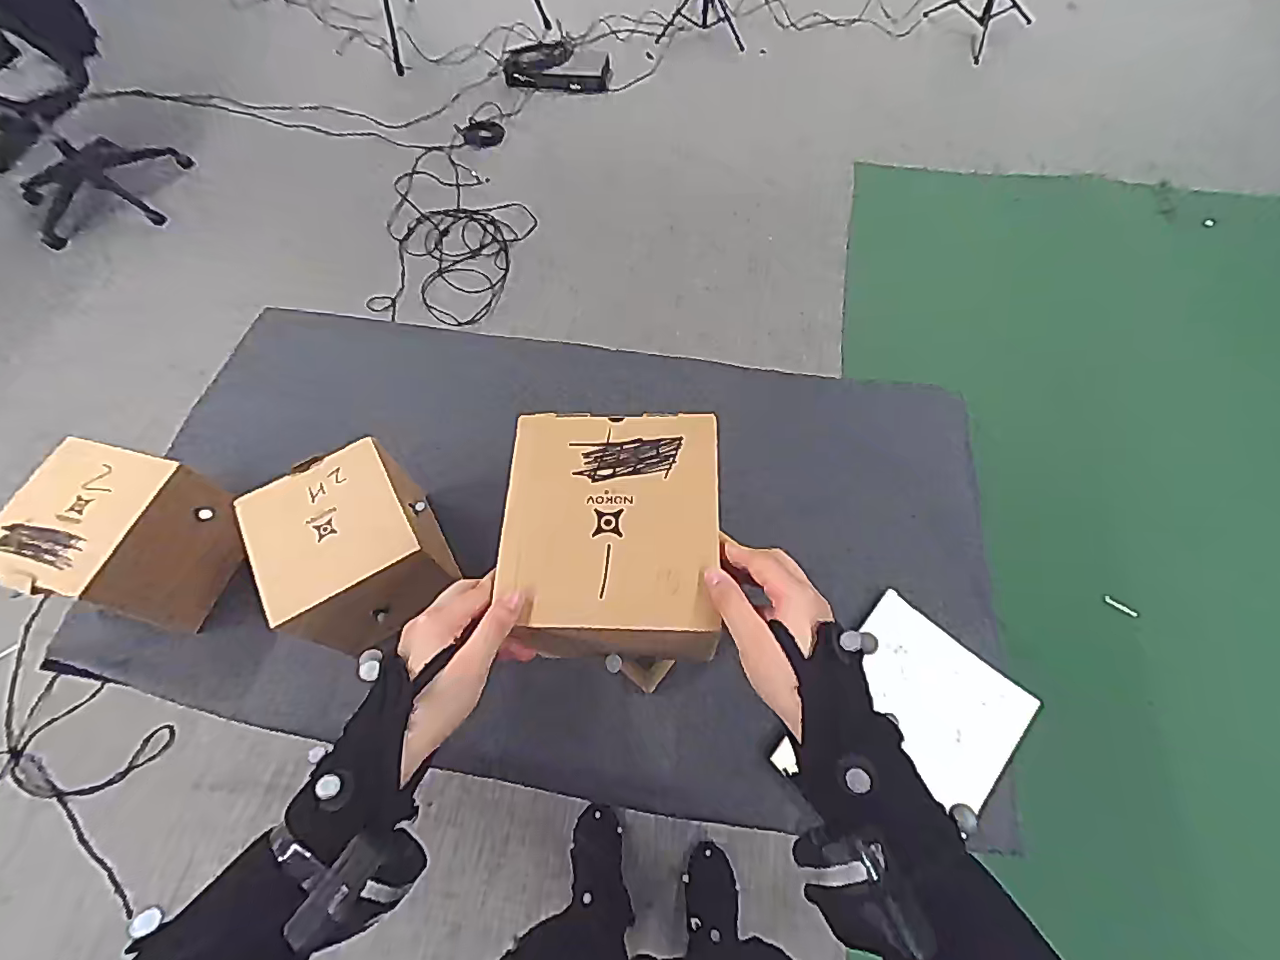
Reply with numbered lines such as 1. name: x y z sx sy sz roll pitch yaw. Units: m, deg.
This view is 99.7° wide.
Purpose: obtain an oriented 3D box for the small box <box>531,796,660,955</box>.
1. small box: -0.082 0.790 1.097 0.179 0.168 0.176 -33 93 -40

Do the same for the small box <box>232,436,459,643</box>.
1. small box: -0.352 0.084 0.673 0.168 0.176 0.179 -29 65 -13

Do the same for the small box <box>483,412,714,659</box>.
1. small box: -0.021 0.056 0.483 0.168 0.176 0.179 0 66 5

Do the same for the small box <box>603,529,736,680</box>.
1. small box: -0.010 0.116 0.642 0.179 0.176 0.168 34 69 19
